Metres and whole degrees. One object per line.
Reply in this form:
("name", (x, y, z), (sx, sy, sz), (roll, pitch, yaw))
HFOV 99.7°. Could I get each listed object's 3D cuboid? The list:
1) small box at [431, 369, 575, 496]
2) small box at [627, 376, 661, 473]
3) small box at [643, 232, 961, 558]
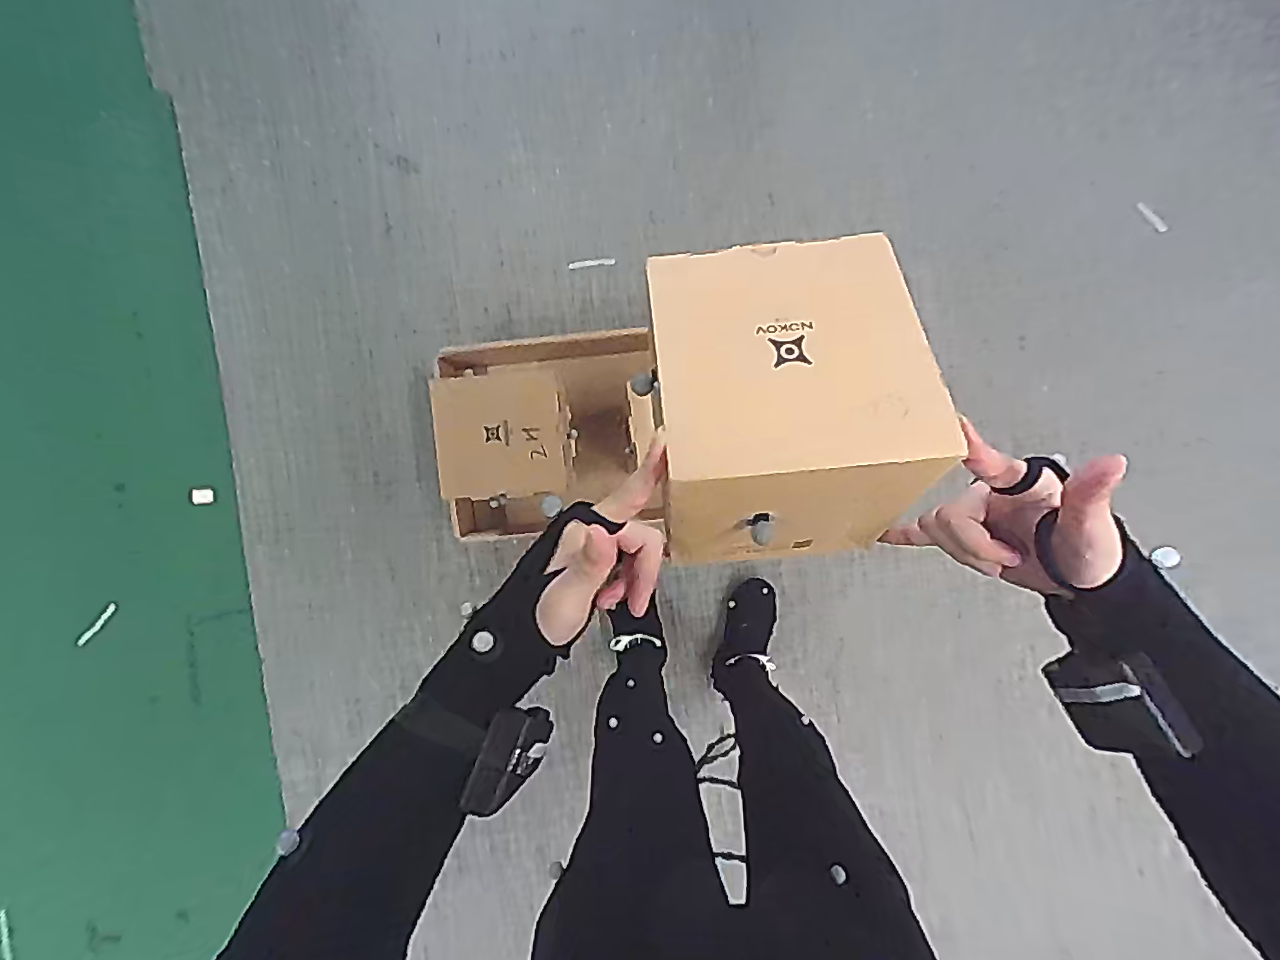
("small box", (-0.196, -0.065, 0.815), (0.179, 0.176, 0.168), (-6, 91, -4))
("small box", (0.071, -0.103, 0.997), (0.179, 0.176, 0.168), (-8, 93, -3))
("small box", (0.096, -0.048, 0.406), (0.168, 0.176, 0.179), (-7, 63, 1))
